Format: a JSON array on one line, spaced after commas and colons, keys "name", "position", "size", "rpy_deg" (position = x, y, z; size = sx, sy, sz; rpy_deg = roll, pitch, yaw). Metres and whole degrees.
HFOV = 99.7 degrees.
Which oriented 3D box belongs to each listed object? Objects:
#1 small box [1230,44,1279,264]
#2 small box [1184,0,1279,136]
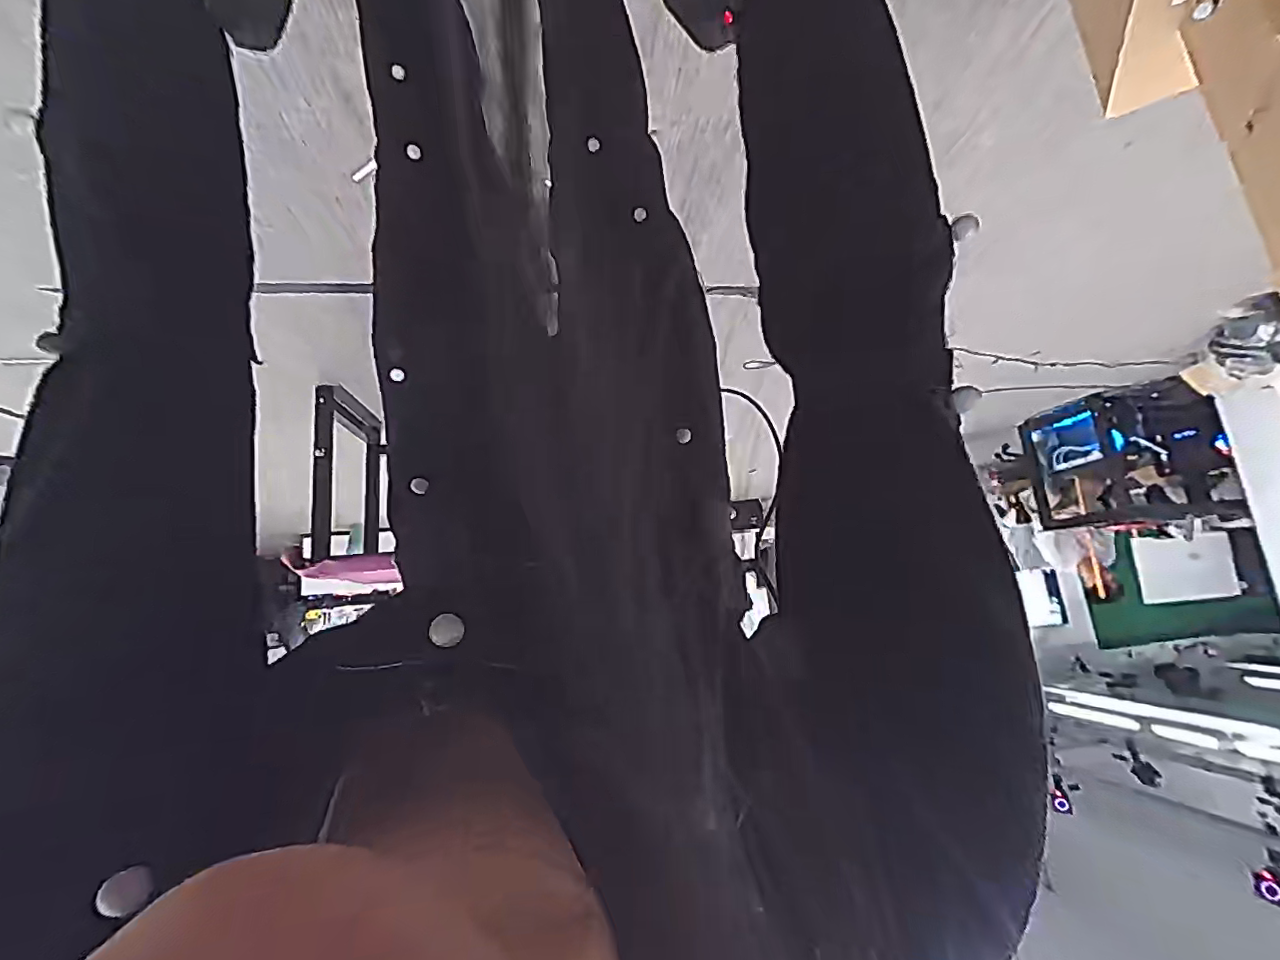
[{"name": "small box", "position": [0.702, -0.336, 0.485], "size": [0.179, 0.176, 0.168], "rpy_deg": [-13, 166, 31]}, {"name": "small box", "position": [0.684, -0.496, 0.521], "size": [0.179, 0.176, 0.168], "rpy_deg": [-12, 166, 32]}]
